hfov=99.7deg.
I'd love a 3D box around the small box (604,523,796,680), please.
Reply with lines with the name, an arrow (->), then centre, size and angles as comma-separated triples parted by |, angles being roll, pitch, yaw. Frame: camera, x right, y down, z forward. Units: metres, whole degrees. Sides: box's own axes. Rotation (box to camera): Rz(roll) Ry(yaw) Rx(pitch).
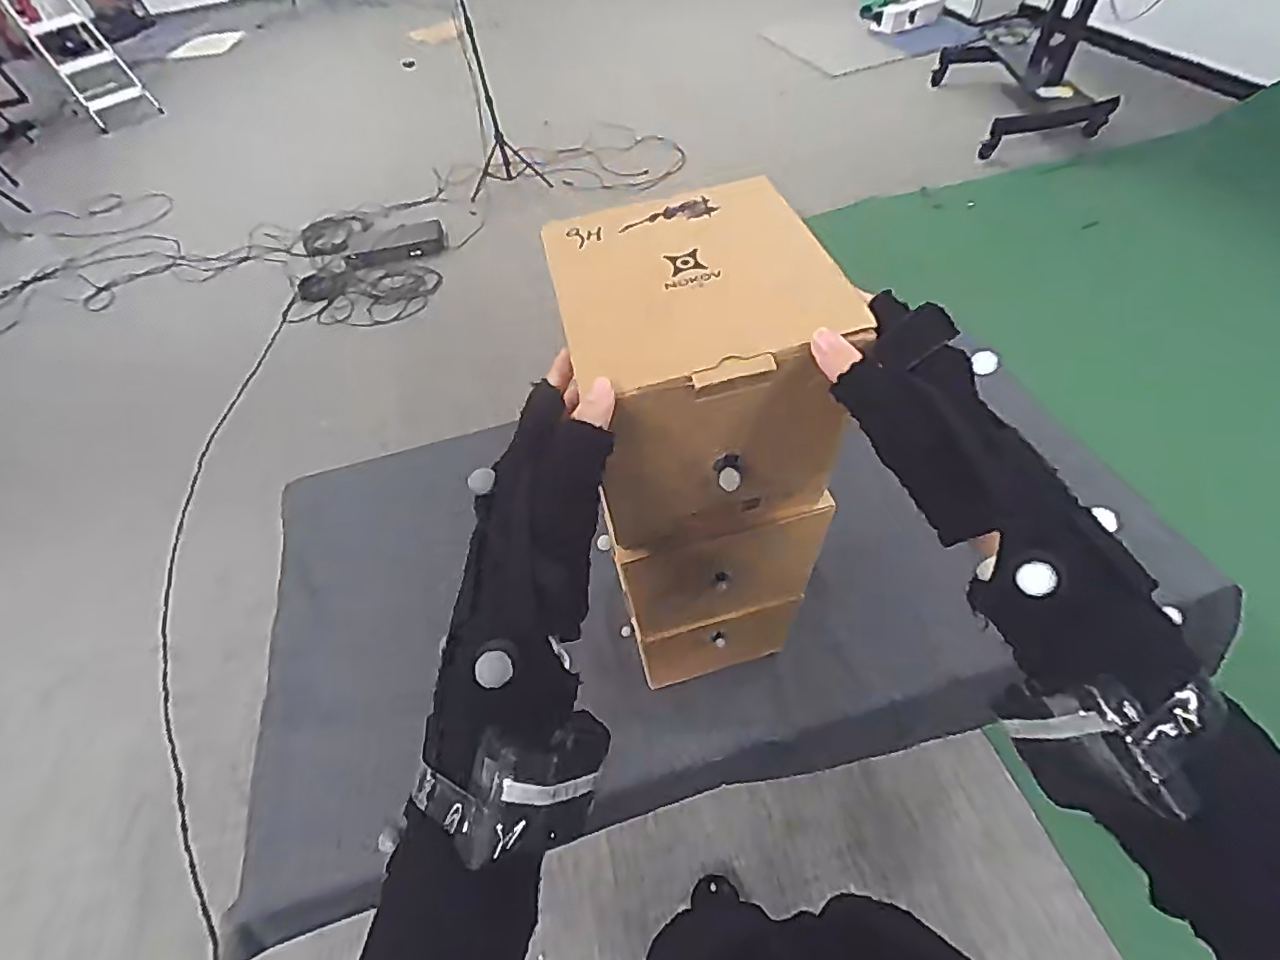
small box -> 0.066, 0.124, 0.657 | 0.179, 0.176, 0.168 | -15, 55, -5

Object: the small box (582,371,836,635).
small box -> 0.056, 0.028, 0.525 | 0.179, 0.176, 0.168 | -17, 55, -6
